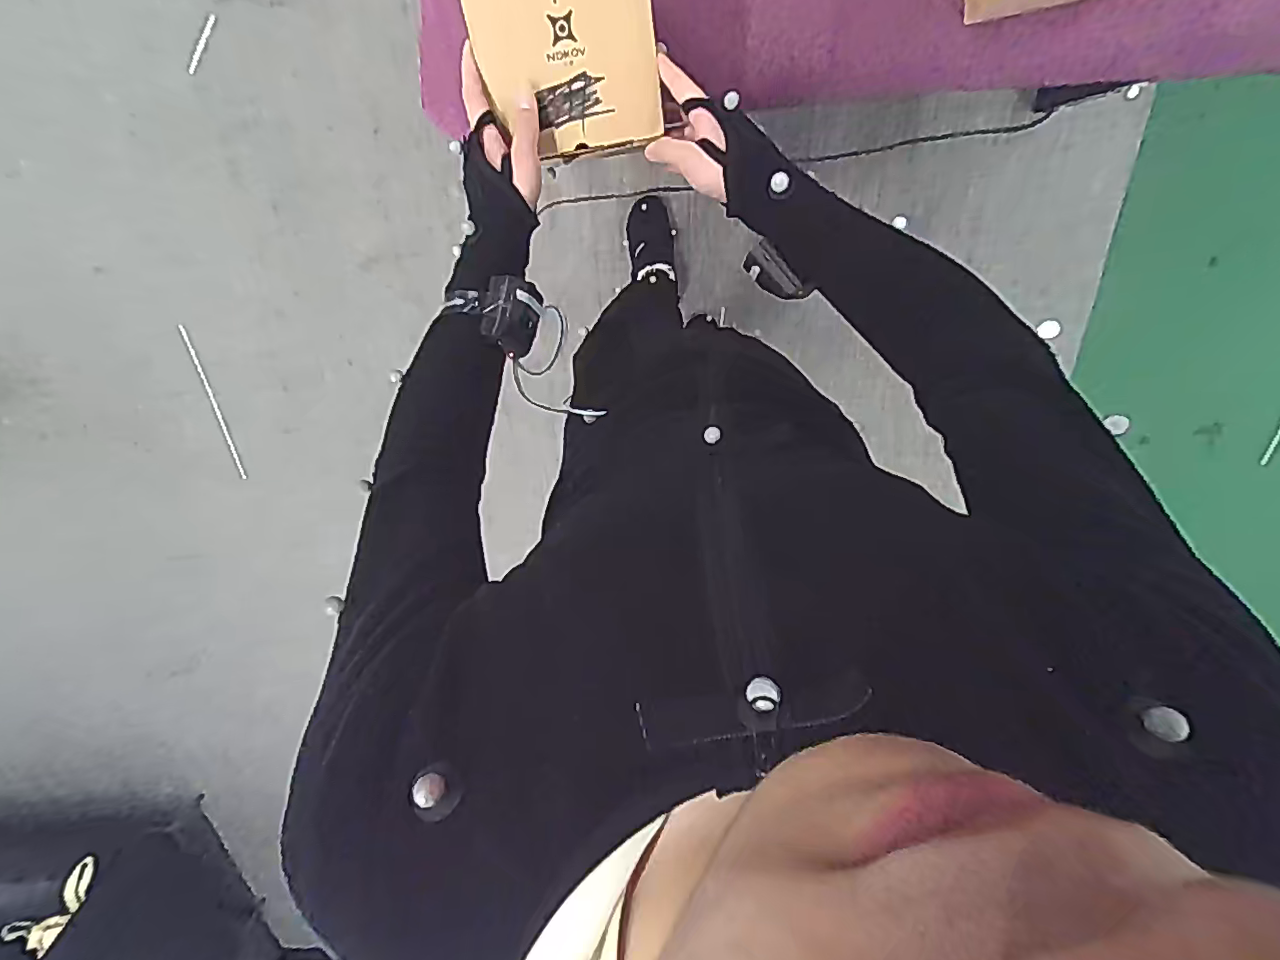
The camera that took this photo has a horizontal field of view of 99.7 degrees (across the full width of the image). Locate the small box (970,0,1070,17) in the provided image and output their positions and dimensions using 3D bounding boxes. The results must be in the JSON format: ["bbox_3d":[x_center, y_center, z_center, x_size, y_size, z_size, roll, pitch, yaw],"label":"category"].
[{"bbox_3d":[0.450,-0.584,0.512,0.179,0.176,0.168,-9,113,6],"label":"small box"}]

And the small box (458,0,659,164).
[{"bbox_3d":[-0.071,-0.432,0.548,0.168,0.176,0.179,-8,119,4],"label":"small box"}]
